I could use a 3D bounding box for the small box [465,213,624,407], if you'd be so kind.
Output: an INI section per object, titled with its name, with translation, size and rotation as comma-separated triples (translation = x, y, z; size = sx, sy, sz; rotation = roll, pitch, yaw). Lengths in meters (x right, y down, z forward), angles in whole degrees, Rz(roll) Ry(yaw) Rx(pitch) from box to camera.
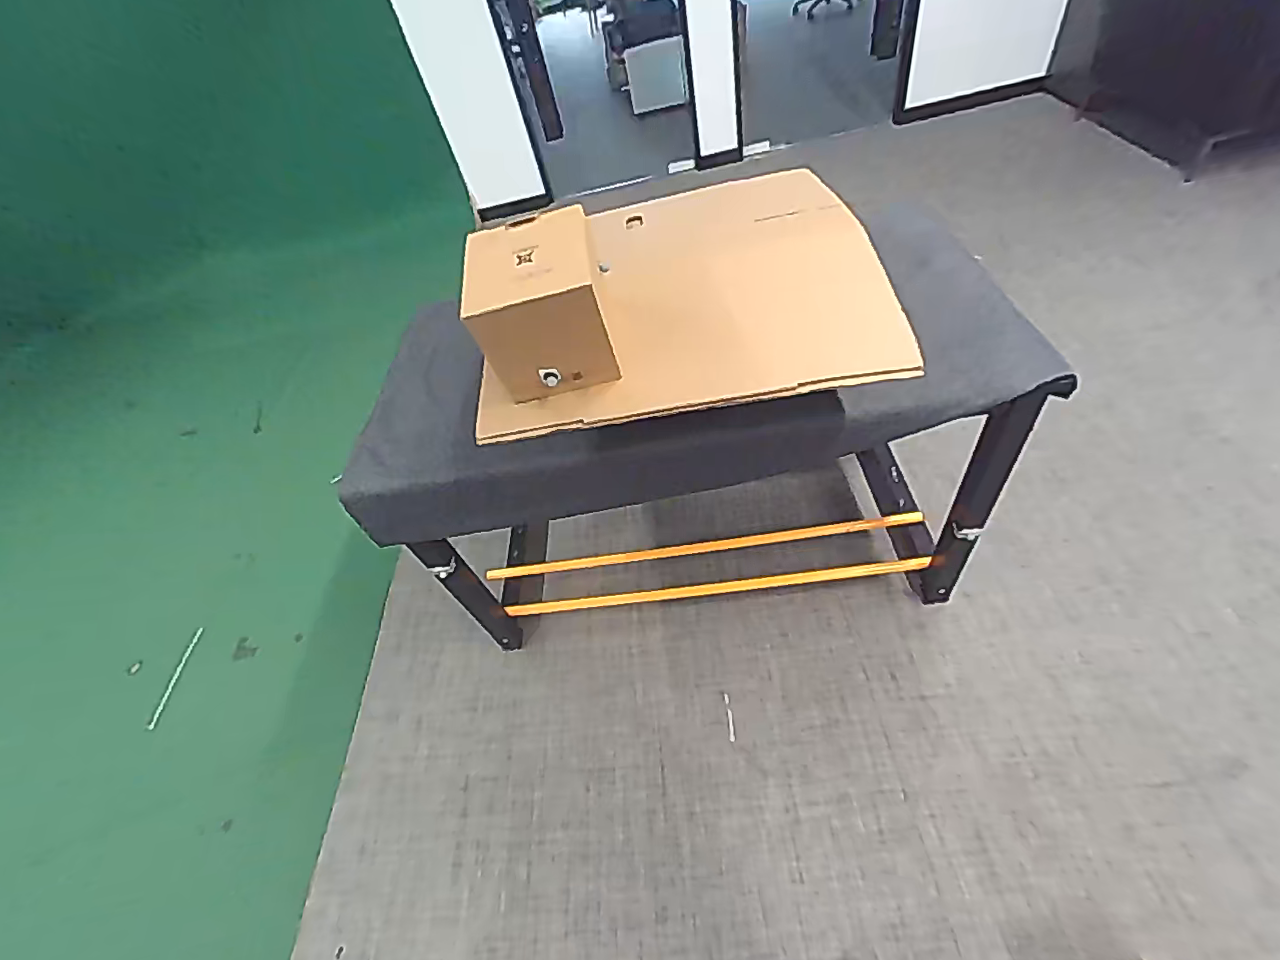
[small box]
translation = -0.127, -0.232, 0.758
size = 0.168, 0.176, 0.179
rotation = -14, 57, 5
